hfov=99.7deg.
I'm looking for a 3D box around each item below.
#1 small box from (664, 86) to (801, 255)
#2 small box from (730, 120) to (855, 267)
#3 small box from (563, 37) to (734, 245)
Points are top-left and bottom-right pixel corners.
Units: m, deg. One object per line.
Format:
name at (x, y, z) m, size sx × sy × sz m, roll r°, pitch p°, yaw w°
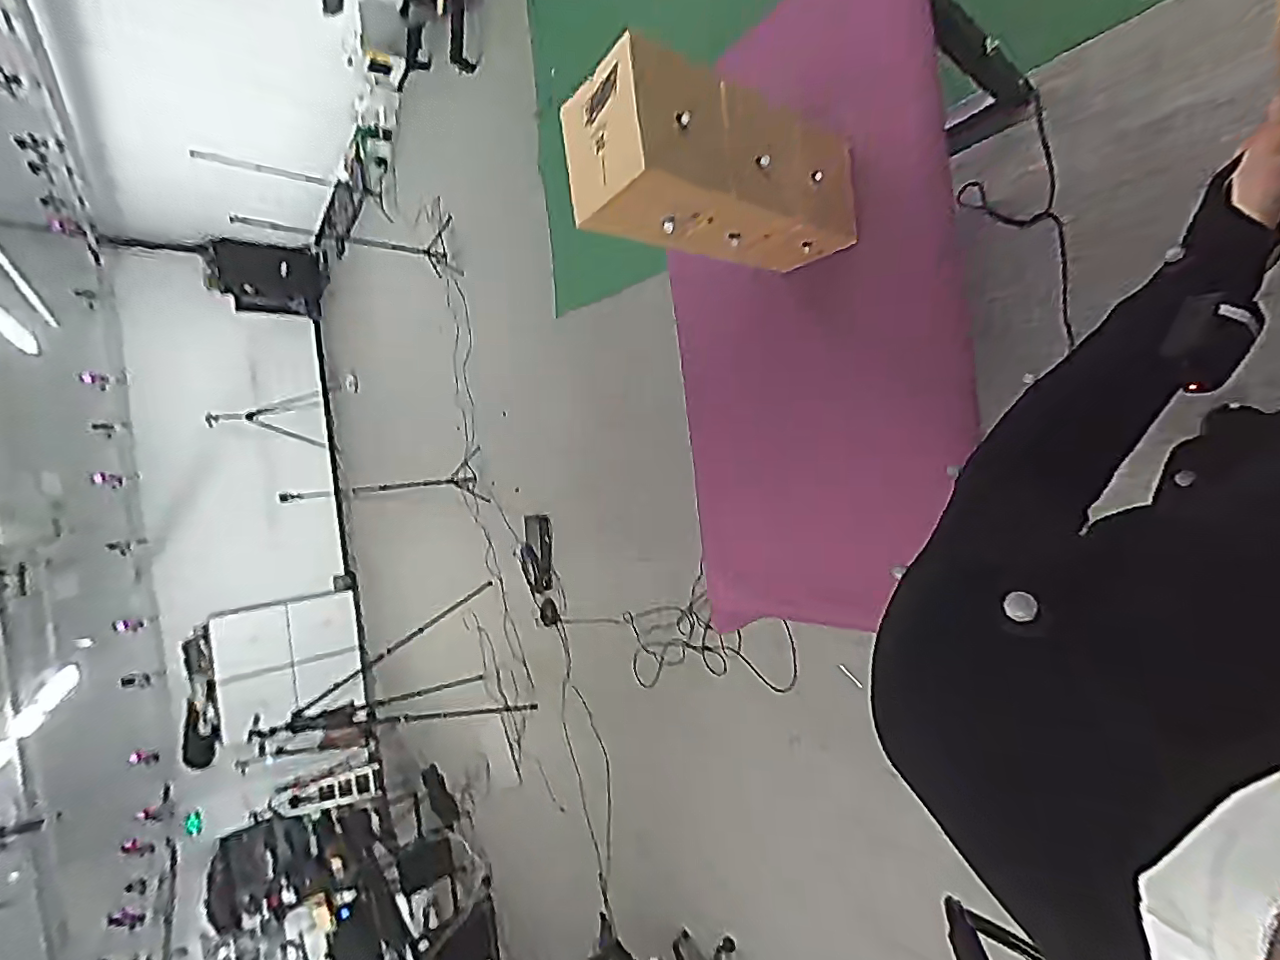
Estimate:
small box at (0.142, -0.480, 0.877) m, size 0.168 × 0.176 × 0.179 m, roll -6°, pitch 93°, yaw 51°
small box at (0.270, -0.498, 0.977) m, size 0.168 × 0.176 × 0.179 m, roll -3°, pitch 94°, yaw 51°
small box at (0.013, -0.463, 0.775) m, size 0.168 × 0.176 × 0.179 m, roll -8°, pitch 91°, yaw 51°
